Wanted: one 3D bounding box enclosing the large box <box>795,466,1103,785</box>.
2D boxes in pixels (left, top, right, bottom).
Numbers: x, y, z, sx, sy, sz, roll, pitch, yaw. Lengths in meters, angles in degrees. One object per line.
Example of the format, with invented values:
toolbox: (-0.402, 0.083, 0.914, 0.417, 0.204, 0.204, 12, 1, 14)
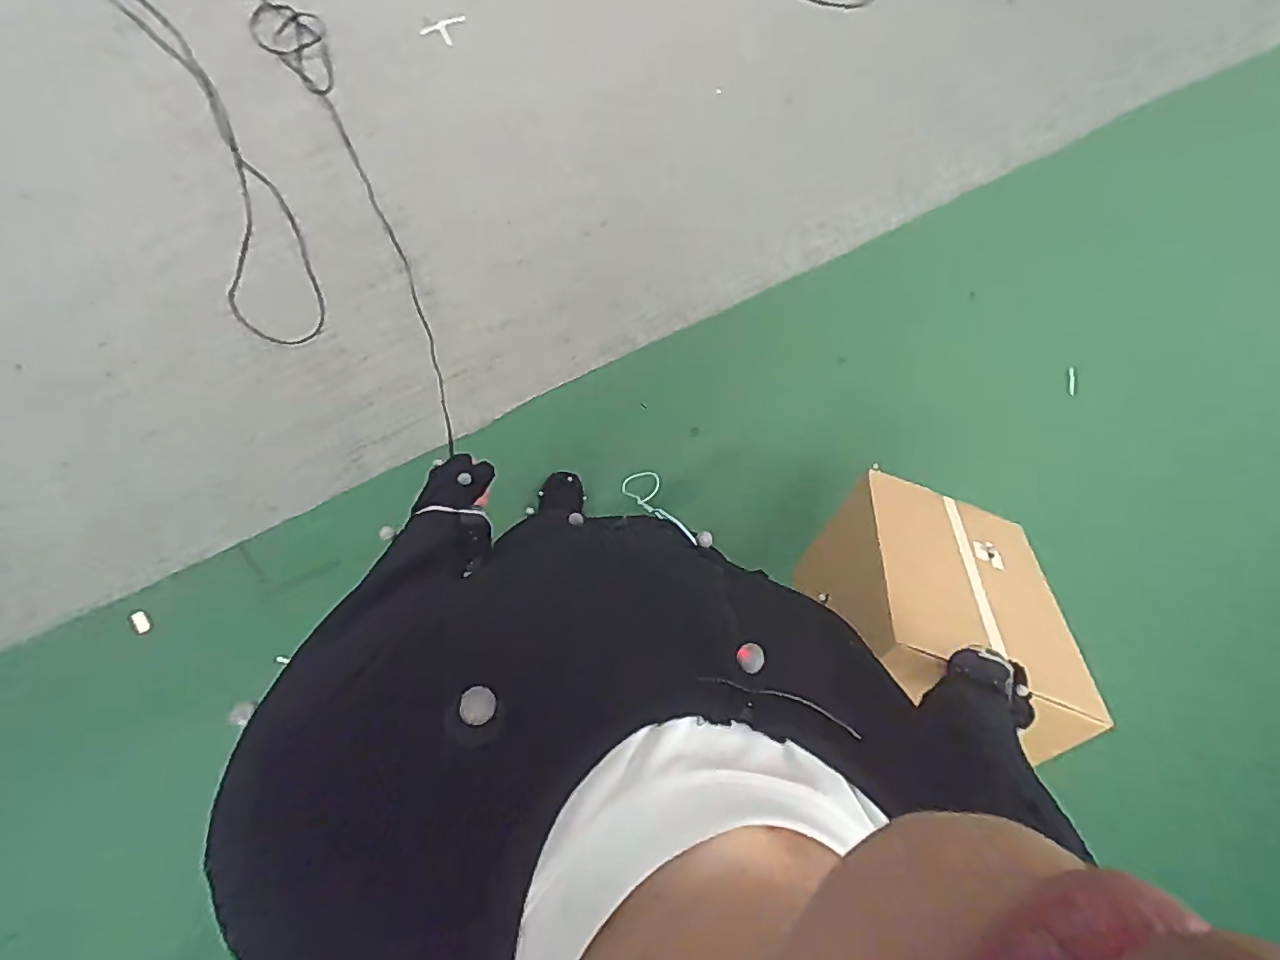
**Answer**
large box: (0.489, 0.250, 0.976, 0.320, 0.408, 0.320, 21, 129, 0)
